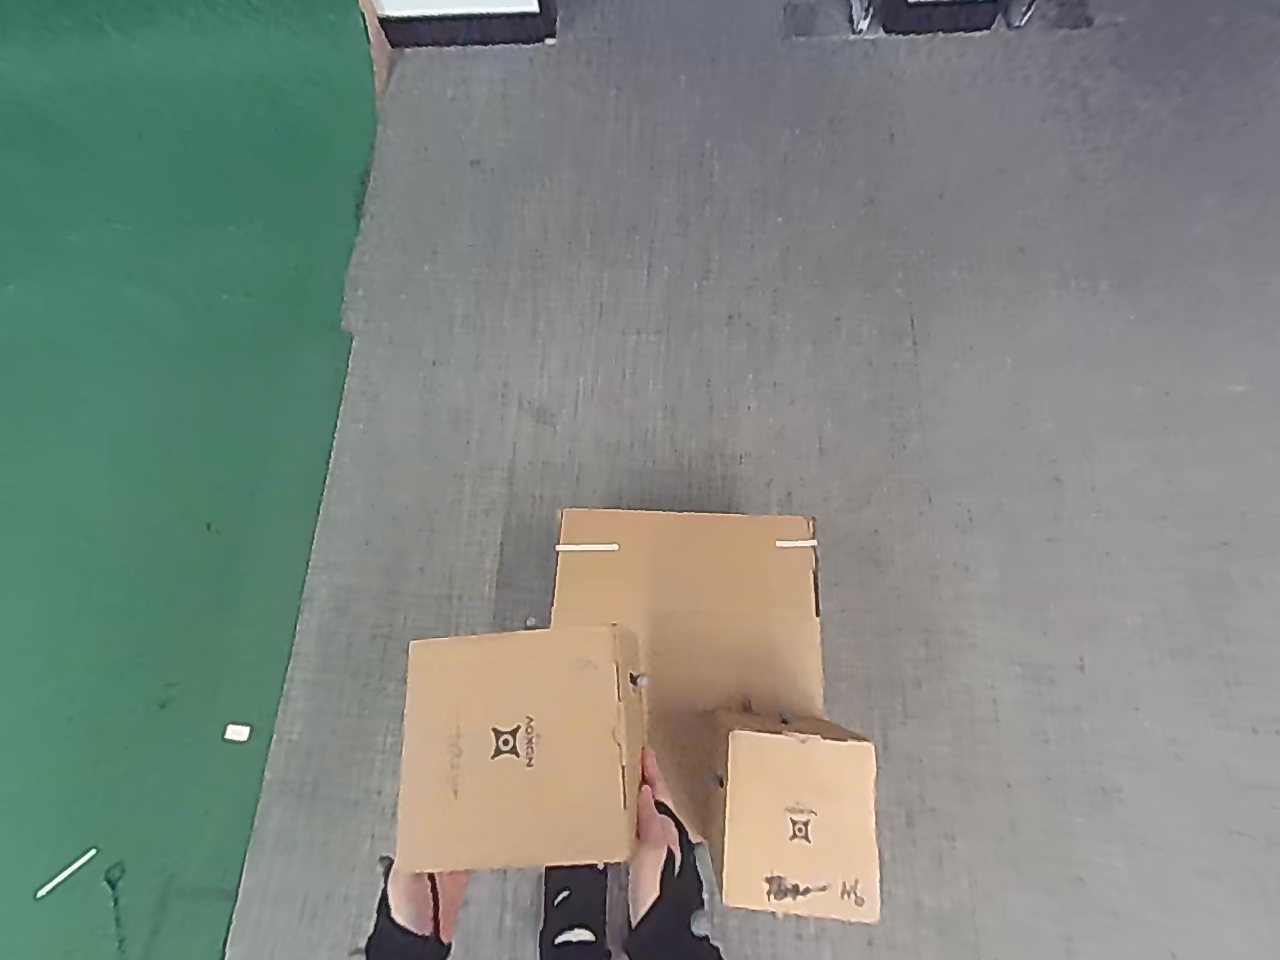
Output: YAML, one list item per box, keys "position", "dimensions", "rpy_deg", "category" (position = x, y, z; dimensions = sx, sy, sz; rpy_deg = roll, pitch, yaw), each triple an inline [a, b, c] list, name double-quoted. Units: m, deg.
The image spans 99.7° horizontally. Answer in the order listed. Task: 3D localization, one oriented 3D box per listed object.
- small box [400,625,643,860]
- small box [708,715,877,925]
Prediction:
- position: [-0.090, 0.228, 0.500]
  dimensions: [0.179, 0.176, 0.168]
  rpy_deg: [-5, 69, 5]
  category: "small box"
- position: [0.174, 0.395, 0.663]
  dimensions: [0.168, 0.176, 0.179]
  rpy_deg: [5, 73, 4]
  category: "small box"
